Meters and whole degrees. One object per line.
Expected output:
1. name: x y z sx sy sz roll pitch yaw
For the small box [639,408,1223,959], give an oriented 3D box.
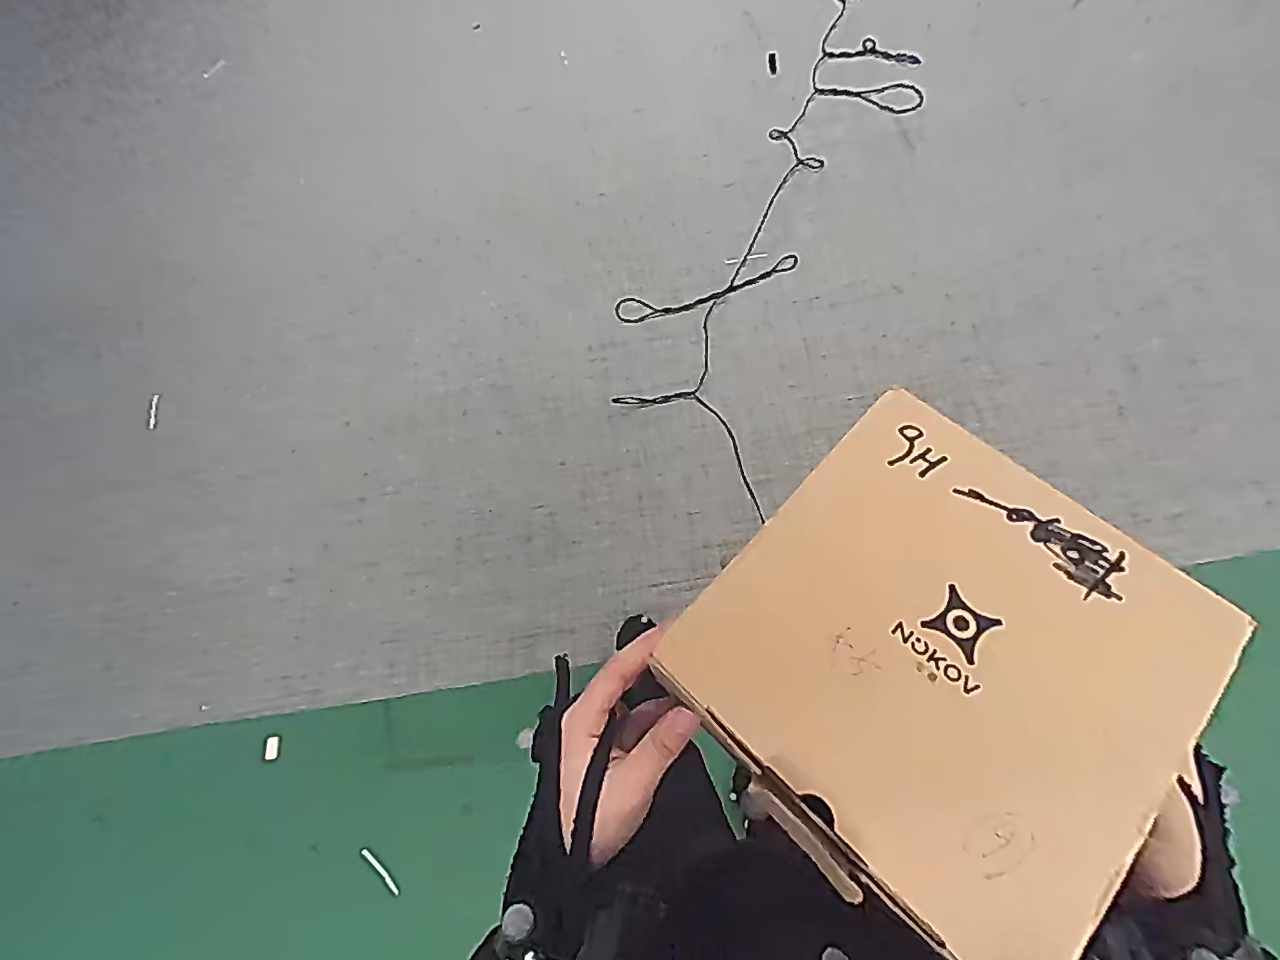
1. small box: 0.122 0.103 0.295 0.168 0.176 0.179 41 75 19
